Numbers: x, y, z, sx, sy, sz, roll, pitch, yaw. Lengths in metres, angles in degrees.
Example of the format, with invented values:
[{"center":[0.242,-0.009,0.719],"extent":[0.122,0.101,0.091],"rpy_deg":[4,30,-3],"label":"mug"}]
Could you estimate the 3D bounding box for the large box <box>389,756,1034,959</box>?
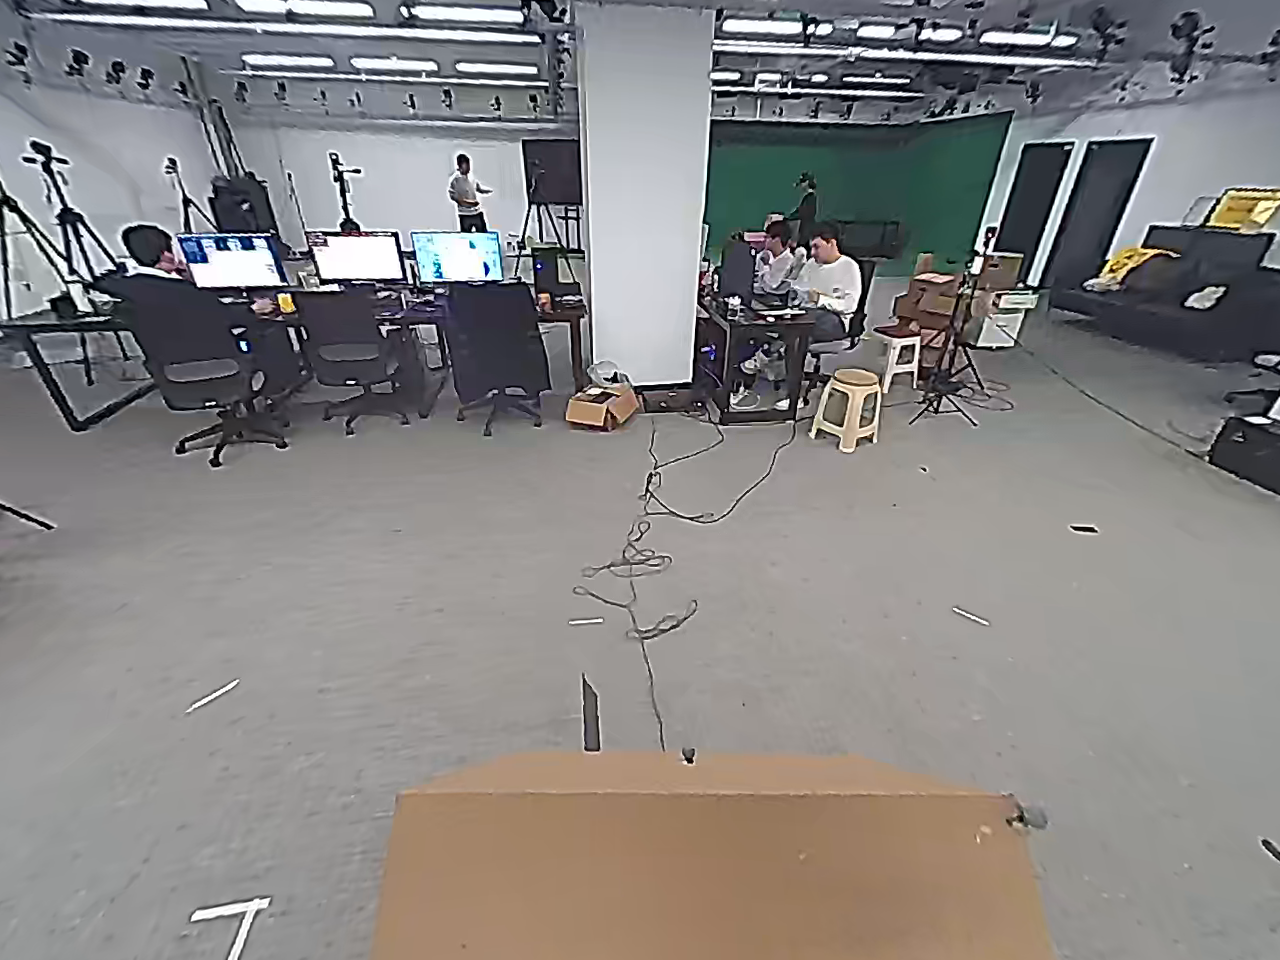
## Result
[{"center":[0.045,0.414,0.445],"extent":[0.408,0.320,0.320],"rpy_deg":[-1,69,1],"label":"large box"}]
